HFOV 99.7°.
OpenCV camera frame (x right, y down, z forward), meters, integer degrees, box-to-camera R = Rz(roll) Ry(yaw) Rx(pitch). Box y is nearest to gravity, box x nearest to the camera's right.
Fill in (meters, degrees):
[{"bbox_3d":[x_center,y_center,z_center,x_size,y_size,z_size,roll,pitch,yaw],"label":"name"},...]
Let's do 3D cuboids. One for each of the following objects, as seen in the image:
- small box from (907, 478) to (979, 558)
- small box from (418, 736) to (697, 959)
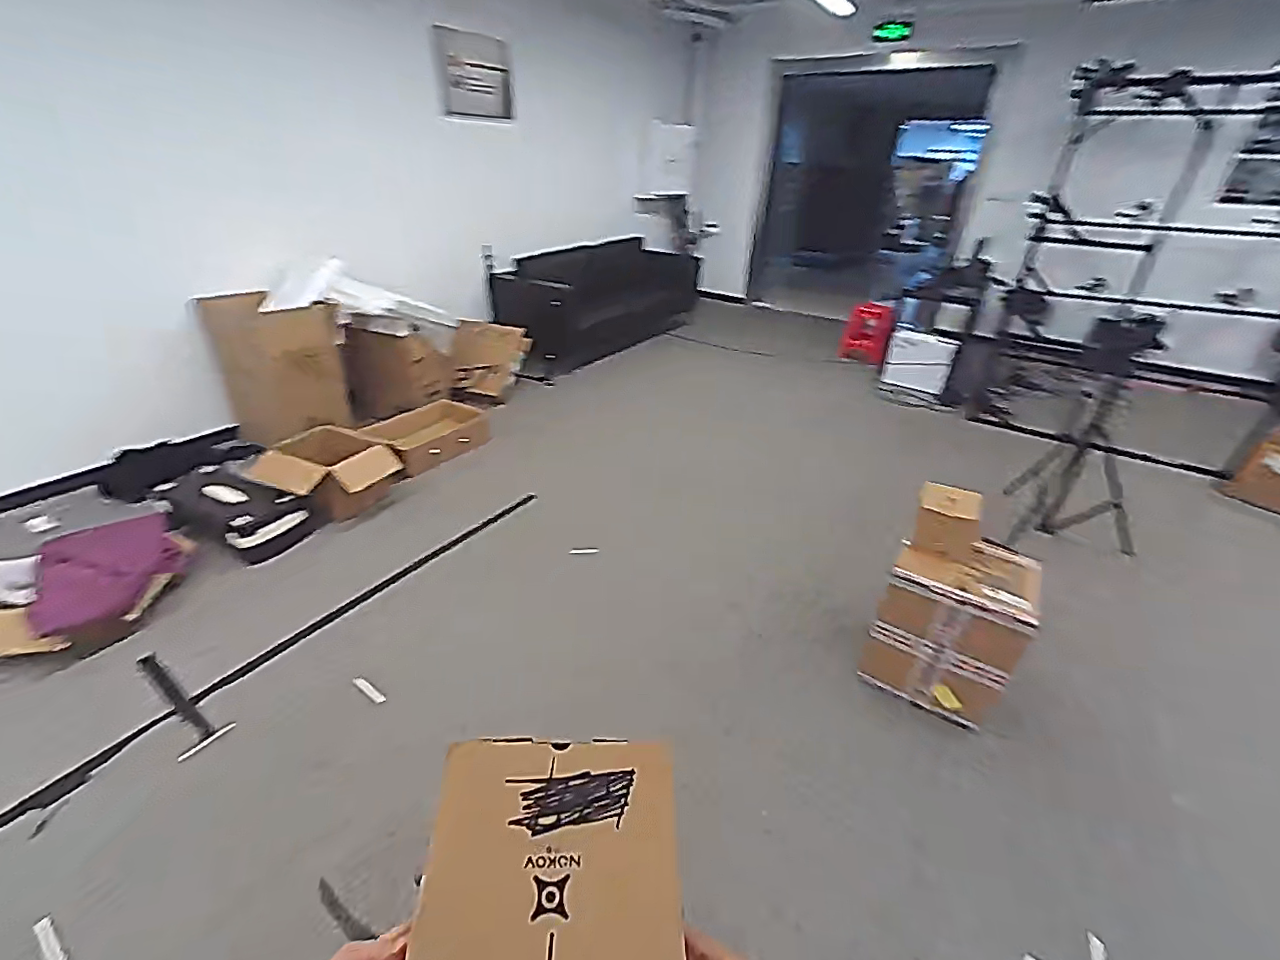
[{"bbox_3d":[0.982,0.122,1.758,0.168,0.176,0.179,15,36,26],"label":"small box"},{"bbox_3d":[-0.057,0.312,0.399,0.168,0.176,0.179,3,43,-6],"label":"small box"}]
